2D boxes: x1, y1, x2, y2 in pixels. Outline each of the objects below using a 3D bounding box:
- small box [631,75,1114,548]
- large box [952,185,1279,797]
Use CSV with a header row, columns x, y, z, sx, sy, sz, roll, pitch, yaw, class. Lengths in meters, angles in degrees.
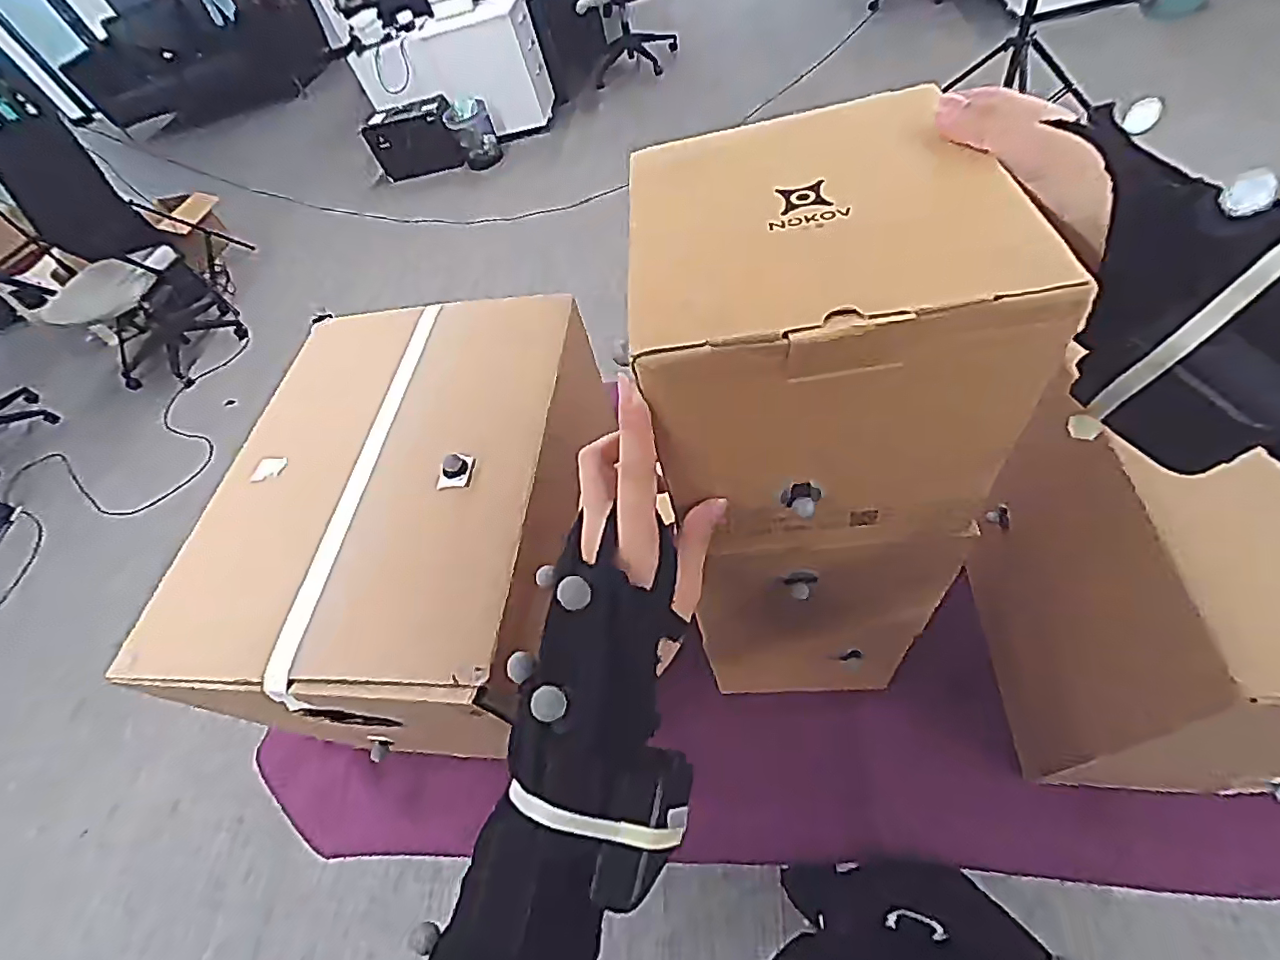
x,y,z,sx,sy,sz,roll,pitch,yaw,class
0.092,-0.082,0.303,0.168,0.176,0.179,-7,54,9,small box
0.479,0.019,0.449,0.320,0.320,0.408,-4,54,12,large box
